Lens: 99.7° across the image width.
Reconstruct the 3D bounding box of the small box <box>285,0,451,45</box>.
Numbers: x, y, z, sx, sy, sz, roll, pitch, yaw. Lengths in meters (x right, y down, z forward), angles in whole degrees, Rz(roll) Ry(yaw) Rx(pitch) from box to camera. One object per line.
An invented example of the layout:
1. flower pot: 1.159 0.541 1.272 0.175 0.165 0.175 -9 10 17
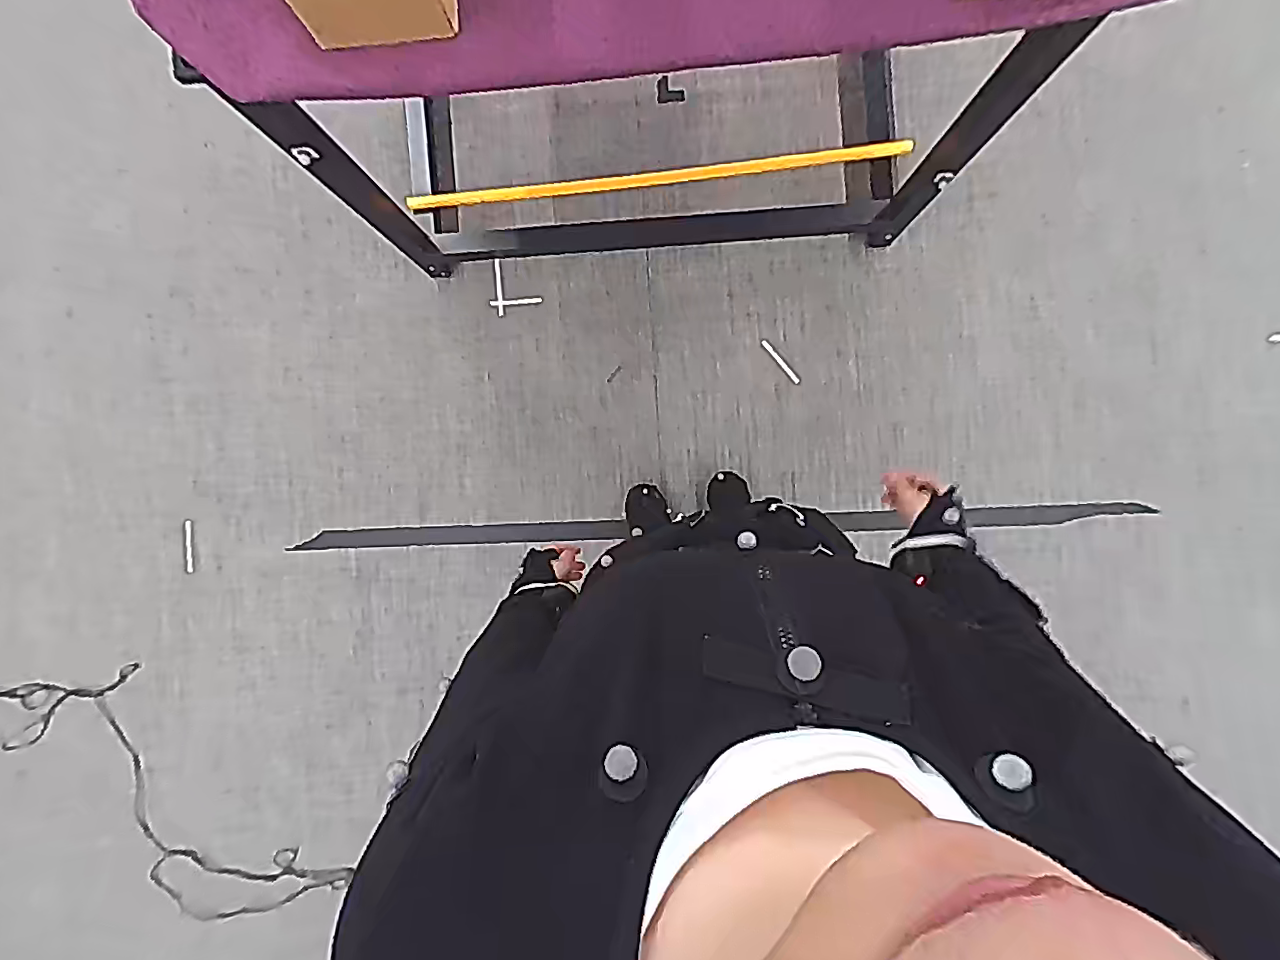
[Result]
1. small box: -0.330 -0.628 0.599 0.179 0.176 0.168 -4 89 2
